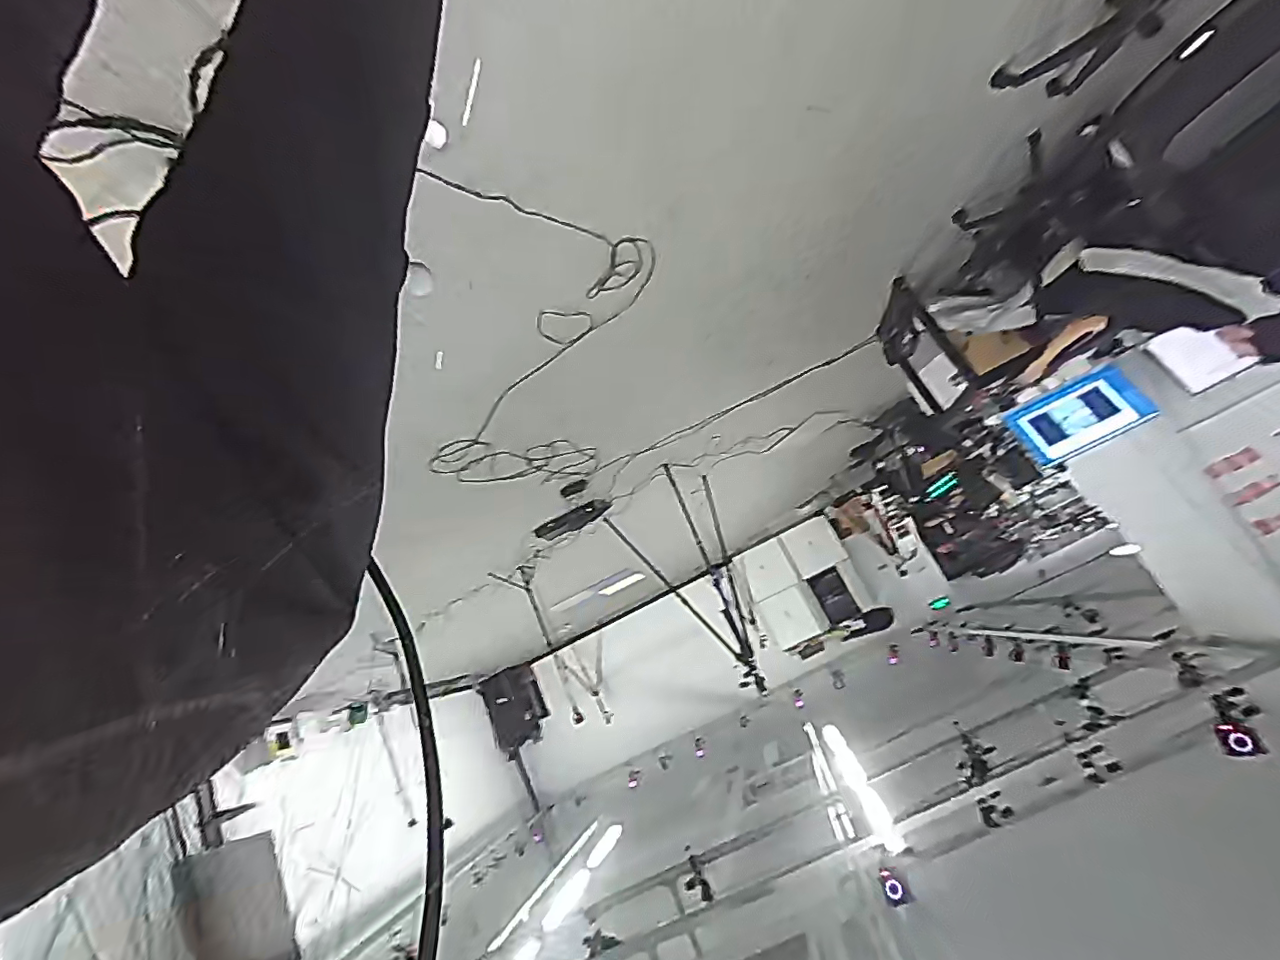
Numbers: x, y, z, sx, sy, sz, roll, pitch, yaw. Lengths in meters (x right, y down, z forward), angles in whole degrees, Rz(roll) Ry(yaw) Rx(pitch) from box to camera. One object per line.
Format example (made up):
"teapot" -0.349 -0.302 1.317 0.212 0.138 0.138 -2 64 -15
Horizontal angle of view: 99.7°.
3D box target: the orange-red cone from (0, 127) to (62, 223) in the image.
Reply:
"orange-red cone" -1.080 -0.386 0.853 0.198 0.360 0.199 -20 162 -15
